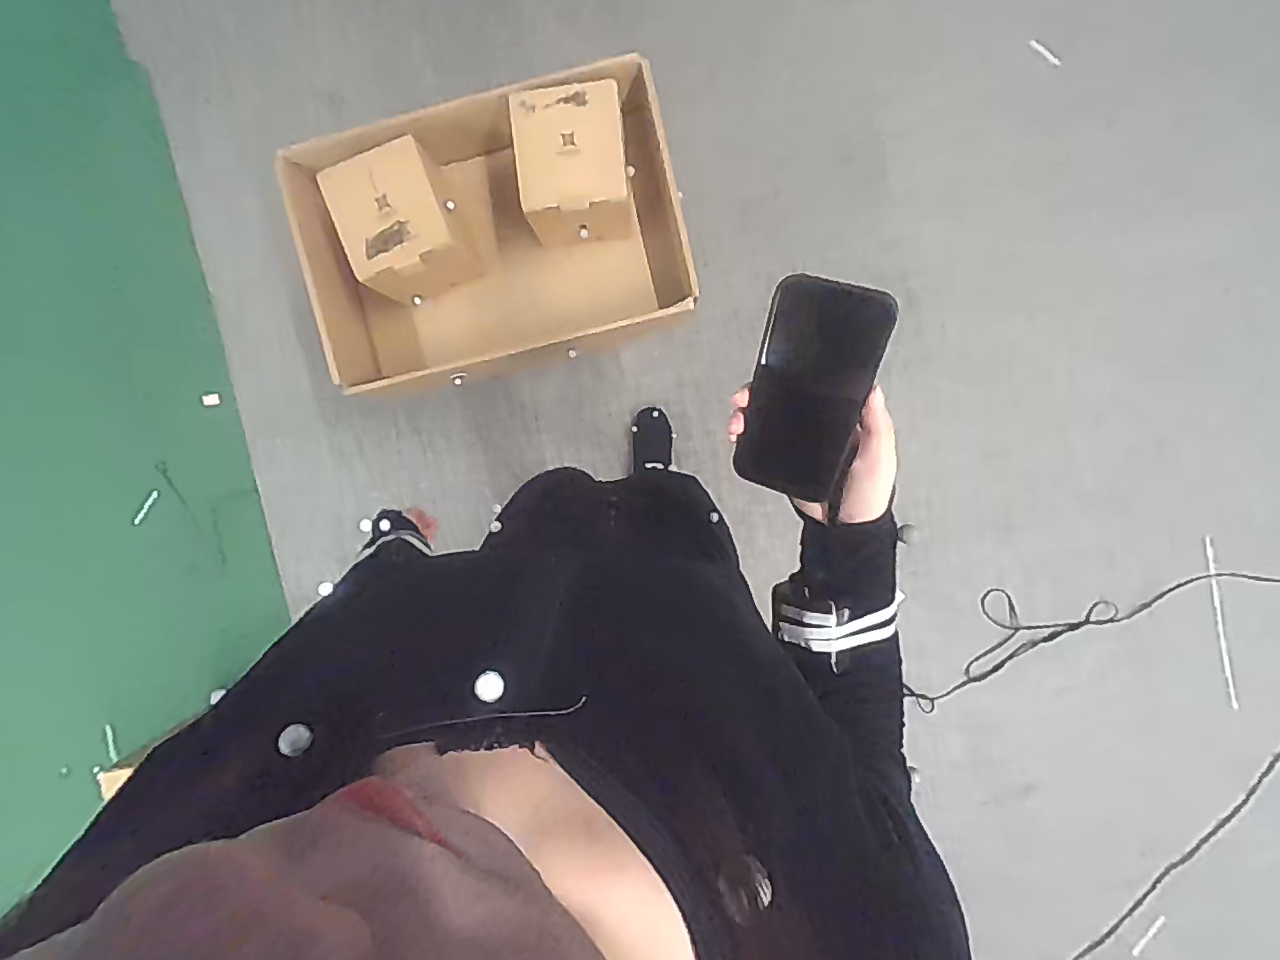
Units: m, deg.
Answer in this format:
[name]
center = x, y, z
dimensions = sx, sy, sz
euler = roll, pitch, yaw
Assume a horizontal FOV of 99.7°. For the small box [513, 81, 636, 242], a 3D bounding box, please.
[small box]
center = -0.099, -0.507, 0.892
dimensions = 0.168, 0.176, 0.179
euler = -5, 96, 3
